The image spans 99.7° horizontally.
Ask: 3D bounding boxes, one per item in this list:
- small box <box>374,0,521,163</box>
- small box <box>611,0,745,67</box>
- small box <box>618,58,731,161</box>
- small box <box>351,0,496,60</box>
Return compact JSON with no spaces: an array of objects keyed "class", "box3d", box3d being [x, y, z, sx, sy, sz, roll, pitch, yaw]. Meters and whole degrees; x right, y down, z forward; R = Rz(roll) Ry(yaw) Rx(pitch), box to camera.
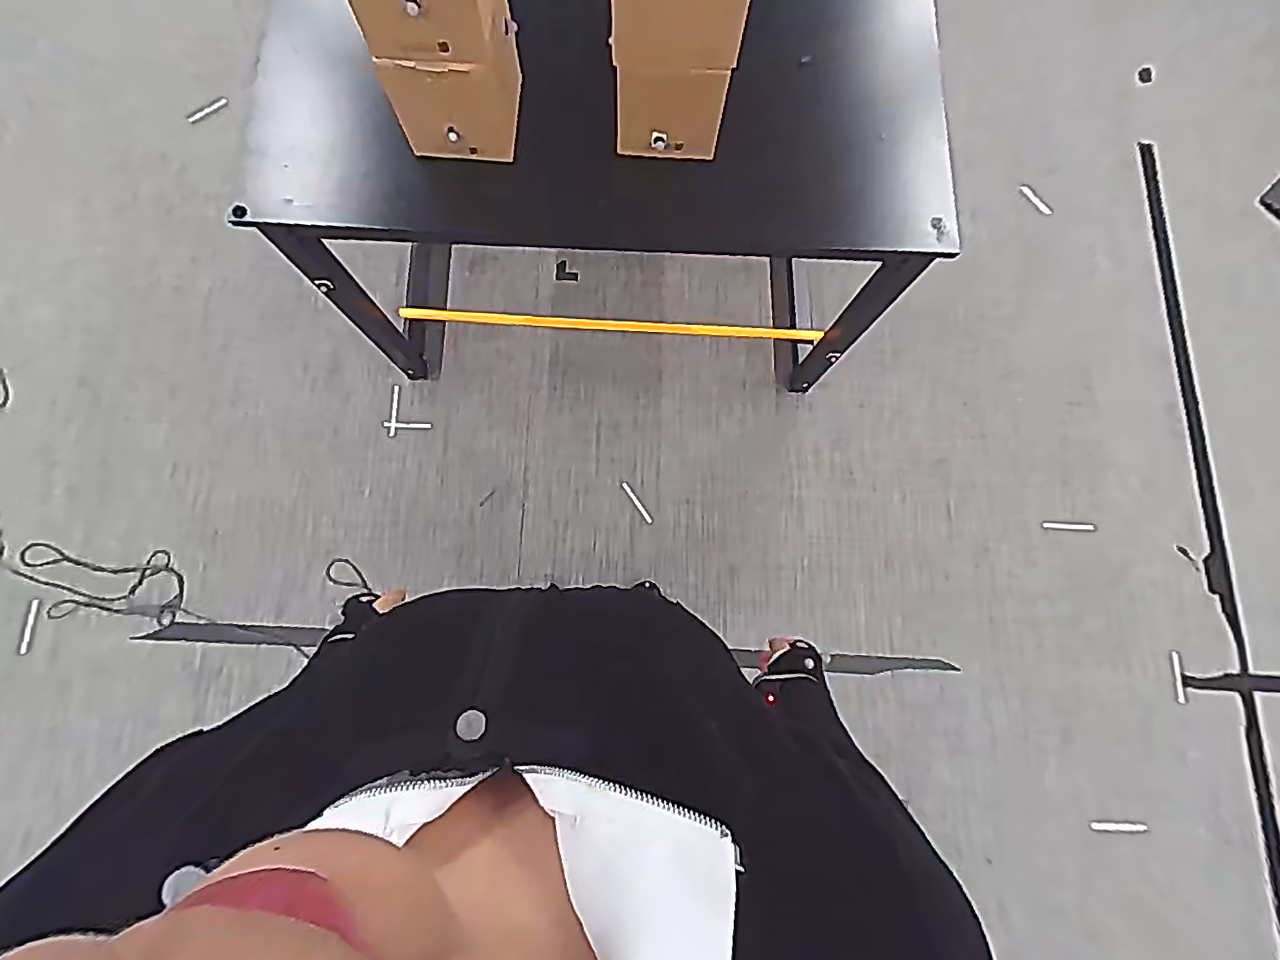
[{"class":"small box","box3d":[-0.288,-0.643,0.850,0.168,0.176,0.179,3,79,-1]},{"class":"small box","box3d":[0.049,-0.682,0.705,0.179,0.176,0.168,0,79,-2]},{"class":"small box","box3d":[0.049,-0.653,0.868,0.168,0.176,0.179,1,79,-1]},{"class":"small box","box3d":[-0.284,-0.684,0.691,0.168,0.176,0.179,0,79,-2]}]
